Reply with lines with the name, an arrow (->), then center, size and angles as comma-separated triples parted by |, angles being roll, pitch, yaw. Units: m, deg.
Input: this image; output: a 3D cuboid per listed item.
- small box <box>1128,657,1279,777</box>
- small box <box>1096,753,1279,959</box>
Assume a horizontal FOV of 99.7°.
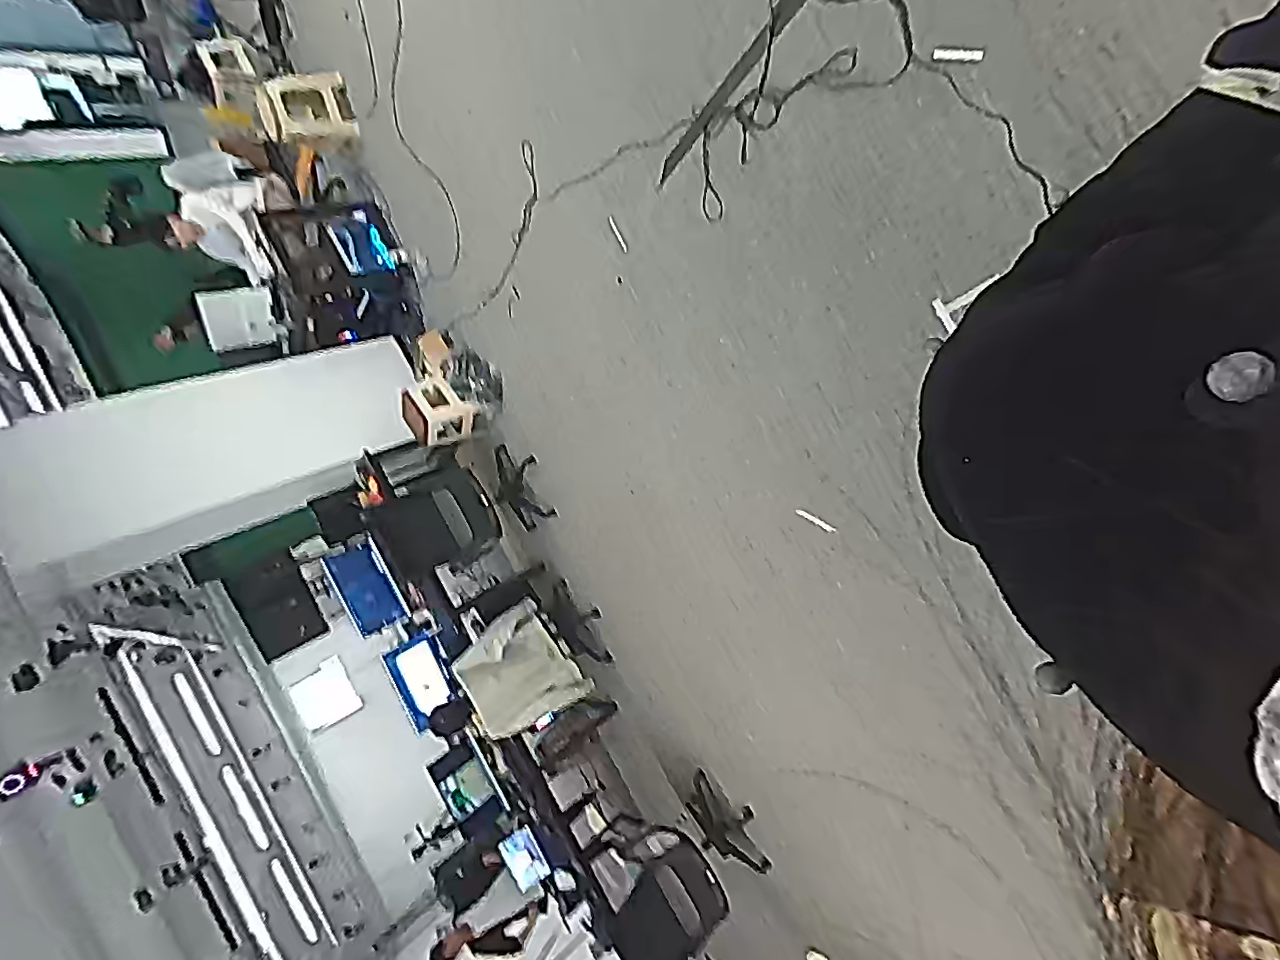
small box -> 0.648, 0.306, 0.550 | 0.168, 0.176, 0.179 | -24, 93, 54
small box -> 0.528, 0.368, 0.455 | 0.168, 0.176, 0.179 | -21, 97, 54
